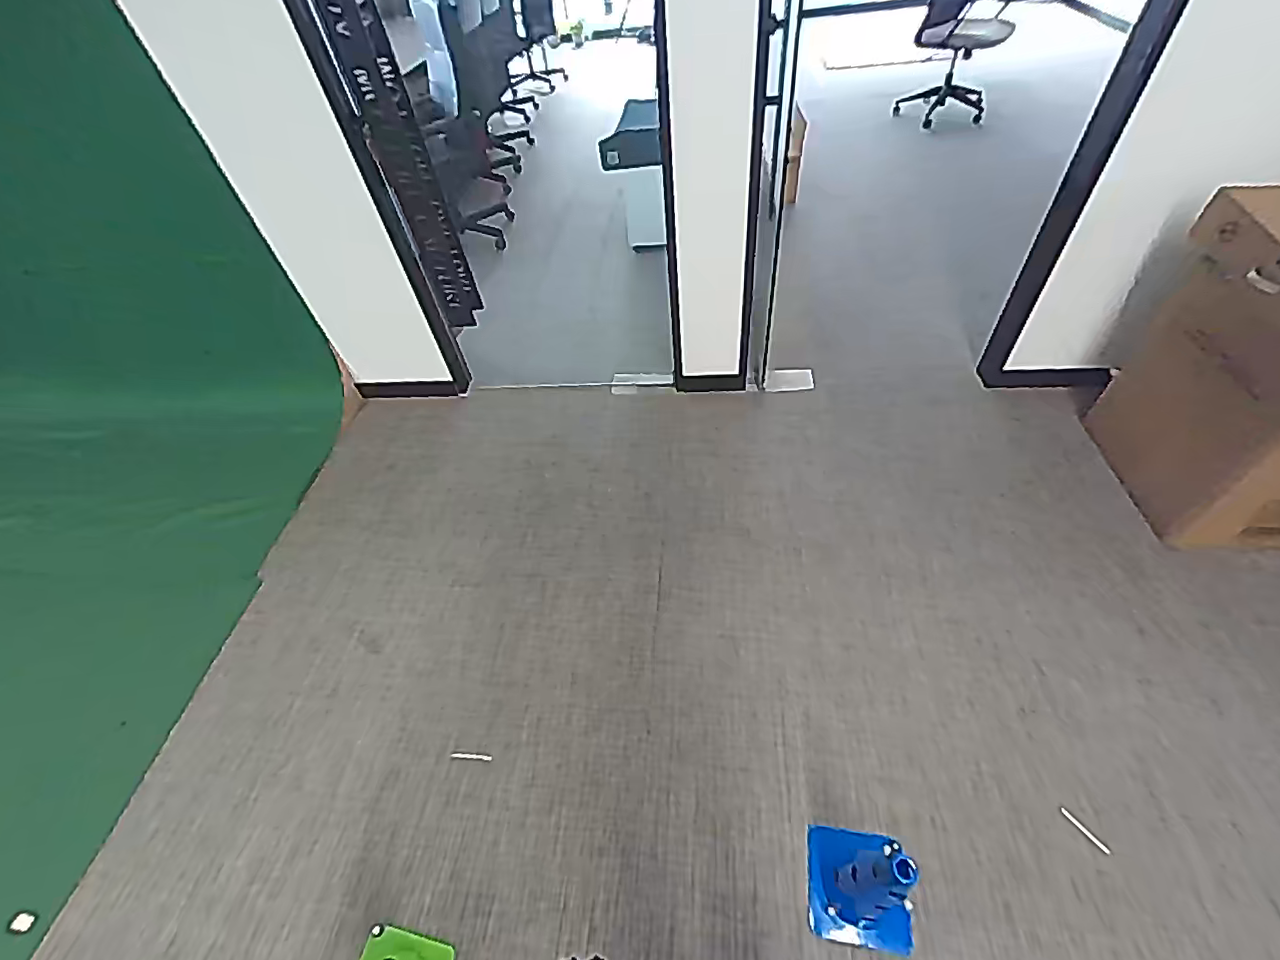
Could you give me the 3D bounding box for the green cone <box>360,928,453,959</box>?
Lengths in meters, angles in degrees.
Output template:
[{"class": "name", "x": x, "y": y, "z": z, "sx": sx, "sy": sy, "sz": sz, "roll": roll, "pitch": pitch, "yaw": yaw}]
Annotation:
[{"class": "green cone", "x": -0.515, "y": 0.935, "z": 0.964, "sx": 0.202, "sy": 0.368, "sz": 0.200, "roll": 5, "pitch": 49, "yaw": 12}]
